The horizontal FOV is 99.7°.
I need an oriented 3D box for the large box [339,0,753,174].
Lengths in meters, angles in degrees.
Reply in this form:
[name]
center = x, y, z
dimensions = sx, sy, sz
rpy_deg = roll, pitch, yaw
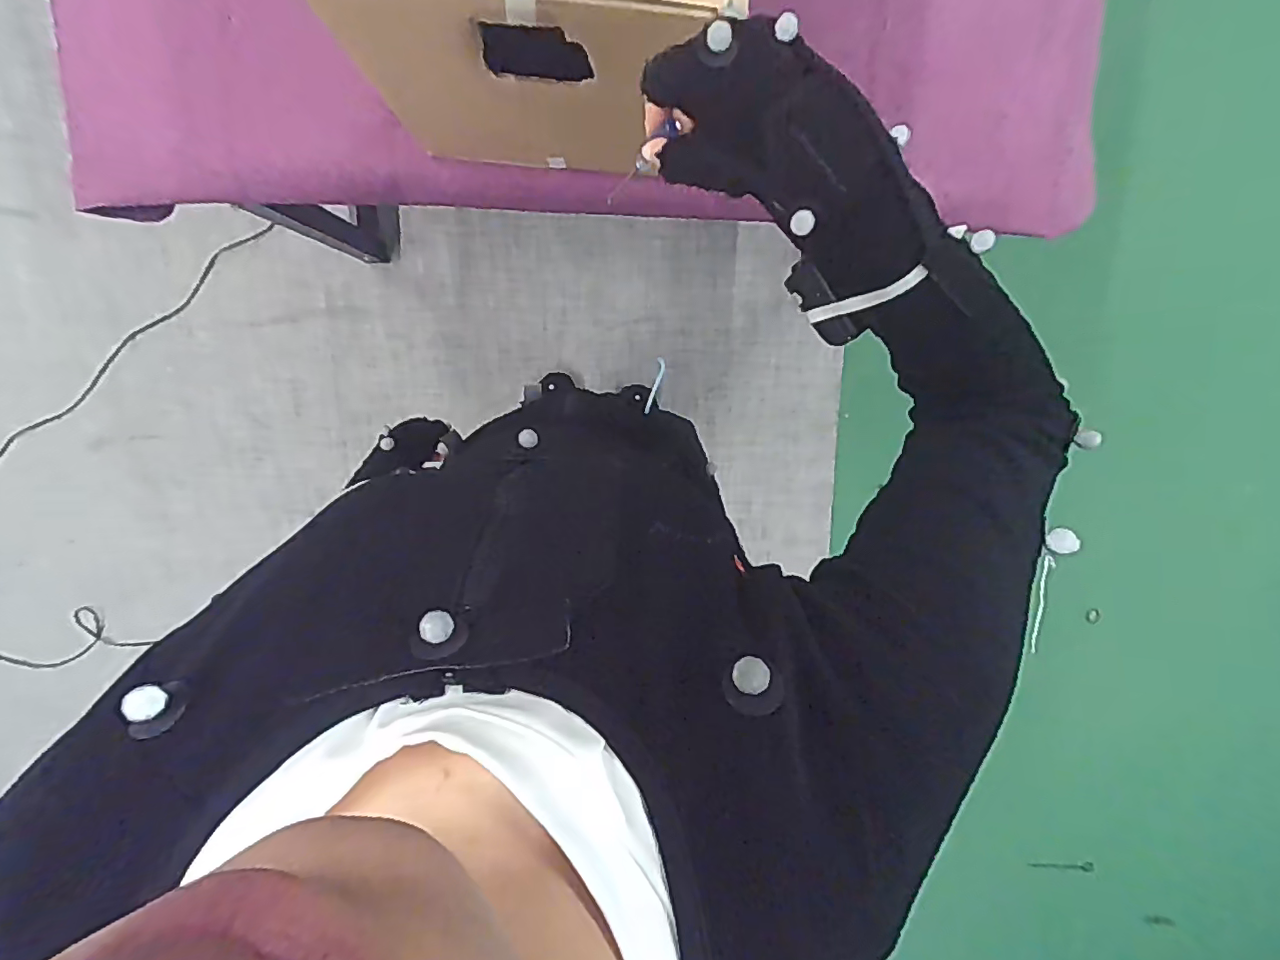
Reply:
[large box]
center = -0.071, -0.560, 0.492
dimensions = 0.320, 0.320, 0.408
rpy_deg = 3, 101, -4
